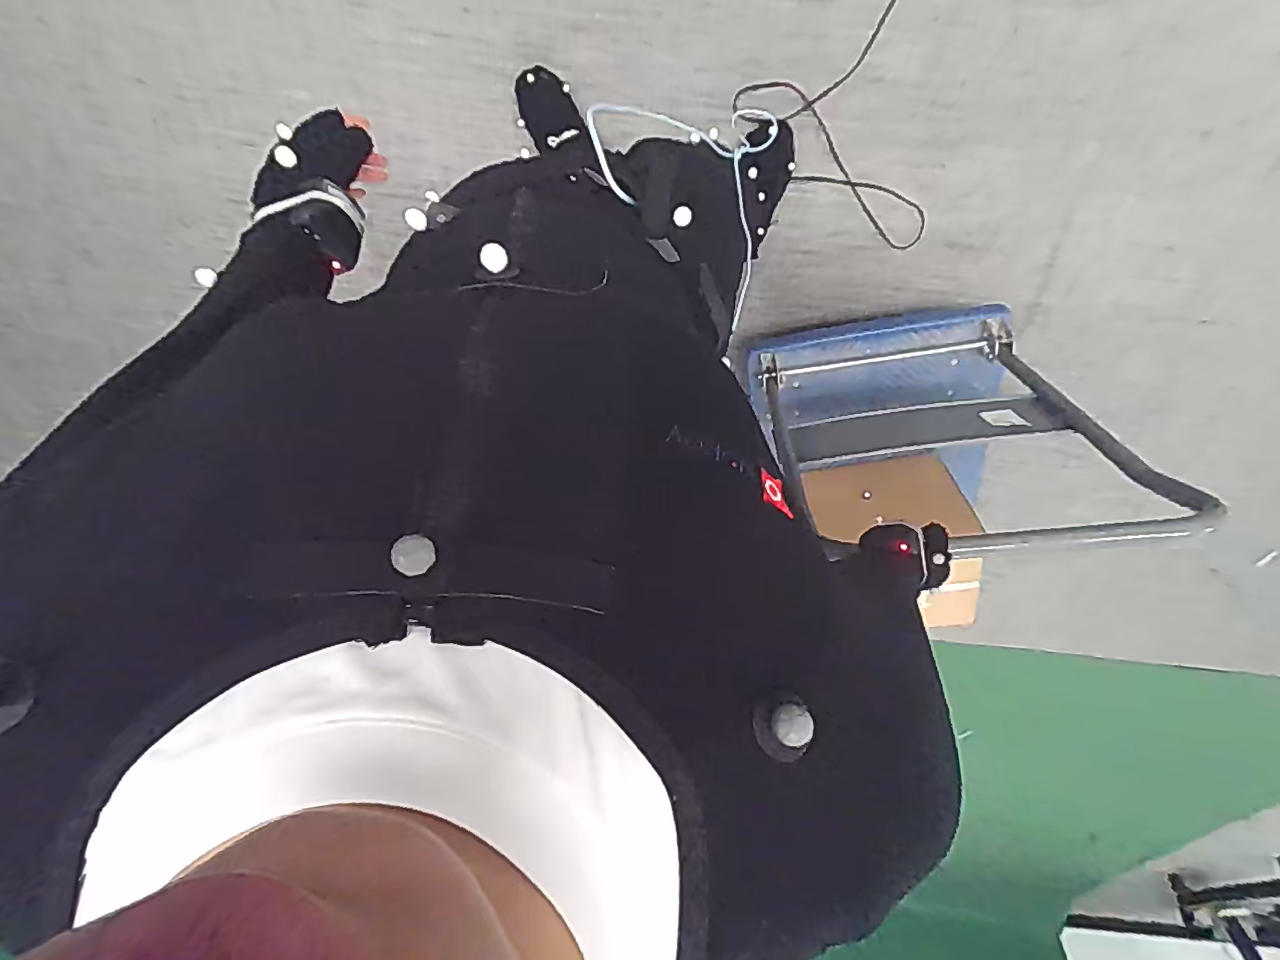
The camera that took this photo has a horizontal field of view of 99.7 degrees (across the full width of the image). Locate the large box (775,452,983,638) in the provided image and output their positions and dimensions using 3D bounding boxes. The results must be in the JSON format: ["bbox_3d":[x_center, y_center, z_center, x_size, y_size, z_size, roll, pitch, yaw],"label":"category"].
[{"bbox_3d":[0.589,0.166,1.395,0.408,0.320,0.320,-11,127,12],"label":"large box"}]
